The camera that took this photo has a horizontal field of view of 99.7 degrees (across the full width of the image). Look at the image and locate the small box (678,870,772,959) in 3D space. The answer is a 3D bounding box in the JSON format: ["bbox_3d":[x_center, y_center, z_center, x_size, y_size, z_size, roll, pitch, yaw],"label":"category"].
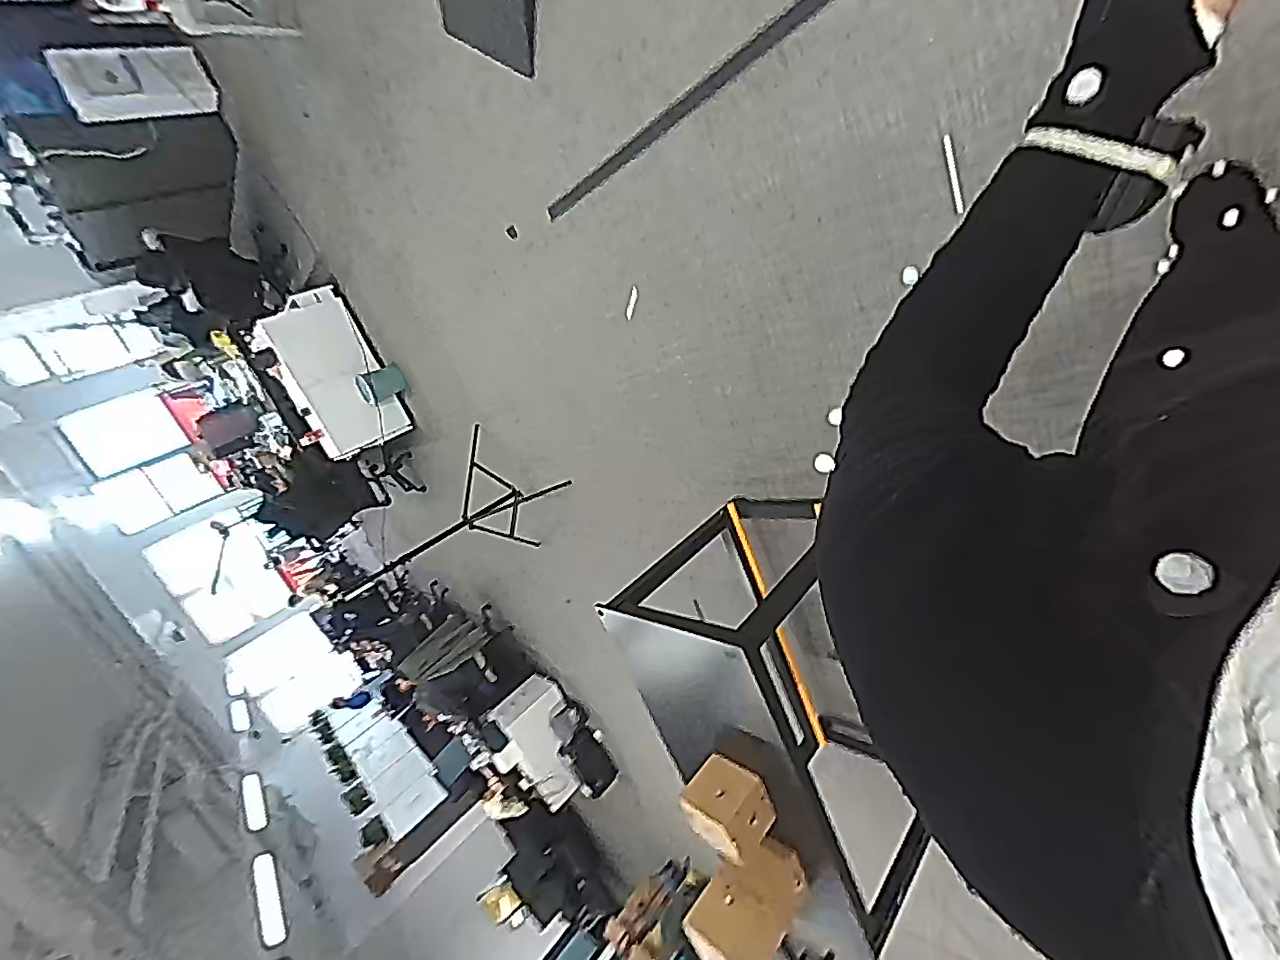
[{"bbox_3d":[0.244,1.259,1.515,0.168,0.176,0.179,-3,116,52],"label":"small box"}]

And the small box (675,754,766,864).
[{"bbox_3d":[0.236,0.919,1.529,0.179,0.176,0.168,1,119,50],"label":"small box"}]

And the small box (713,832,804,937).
[{"bbox_3d":[0.355,1.181,1.608,0.179,0.176,0.168,-2,117,50],"label":"small box"}]
